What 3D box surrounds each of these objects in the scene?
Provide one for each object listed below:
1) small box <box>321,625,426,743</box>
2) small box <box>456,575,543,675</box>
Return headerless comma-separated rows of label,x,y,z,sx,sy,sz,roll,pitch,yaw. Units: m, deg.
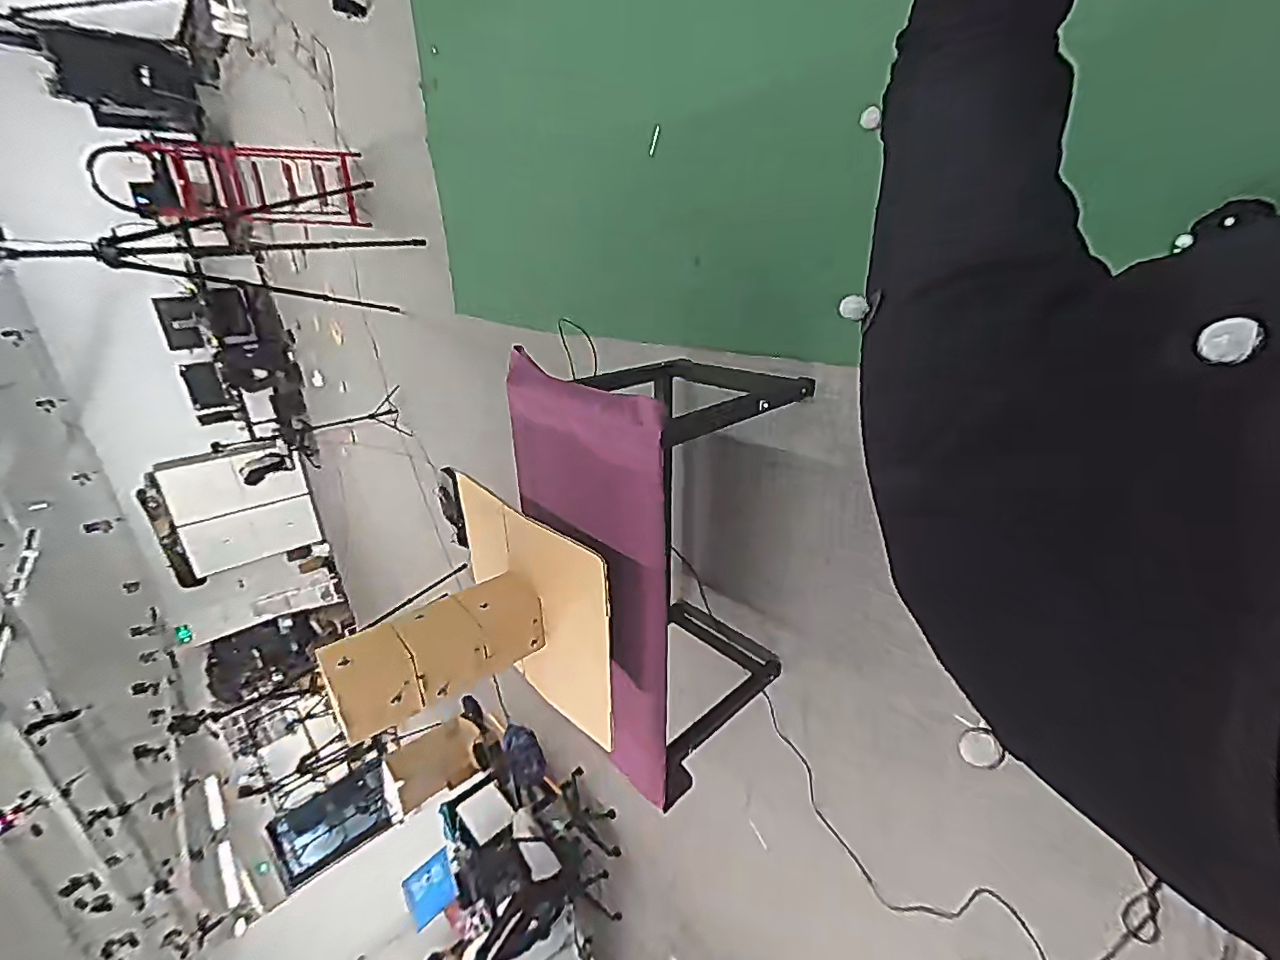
small box,-0.625,0.467,1.274,0.179,0.176,0.168,24,124,45
small box,-0.373,0.383,1.467,0.179,0.176,0.168,26,125,44
